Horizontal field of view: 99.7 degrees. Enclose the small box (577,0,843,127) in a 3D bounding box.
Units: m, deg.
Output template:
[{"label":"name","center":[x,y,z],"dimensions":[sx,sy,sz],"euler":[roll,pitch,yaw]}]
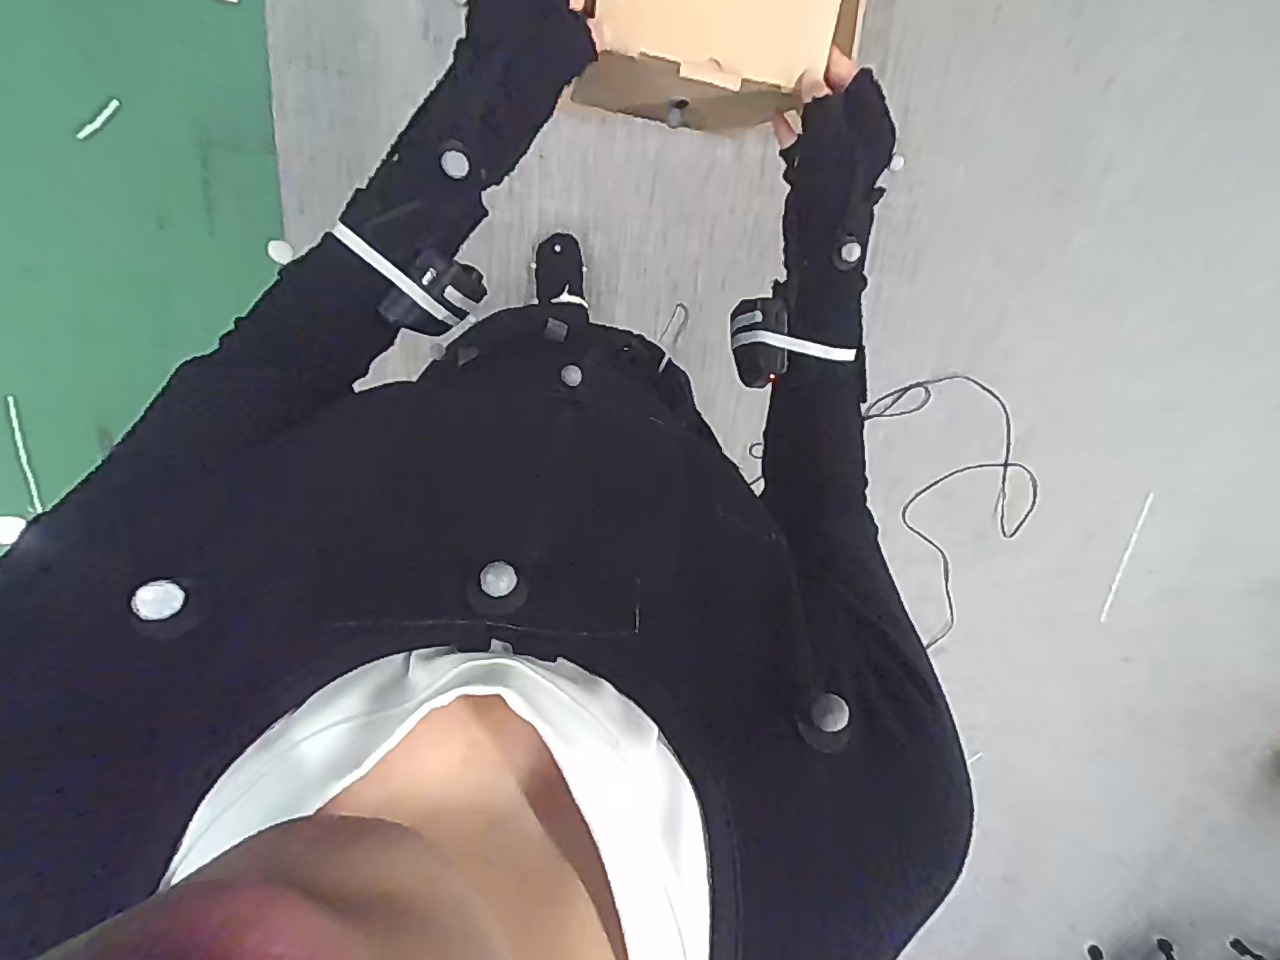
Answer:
[{"label":"small box","center":[0.047,-0.387,0.404],"dimensions":[0.168,0.176,0.179],"euler":[3,115,-15]}]
